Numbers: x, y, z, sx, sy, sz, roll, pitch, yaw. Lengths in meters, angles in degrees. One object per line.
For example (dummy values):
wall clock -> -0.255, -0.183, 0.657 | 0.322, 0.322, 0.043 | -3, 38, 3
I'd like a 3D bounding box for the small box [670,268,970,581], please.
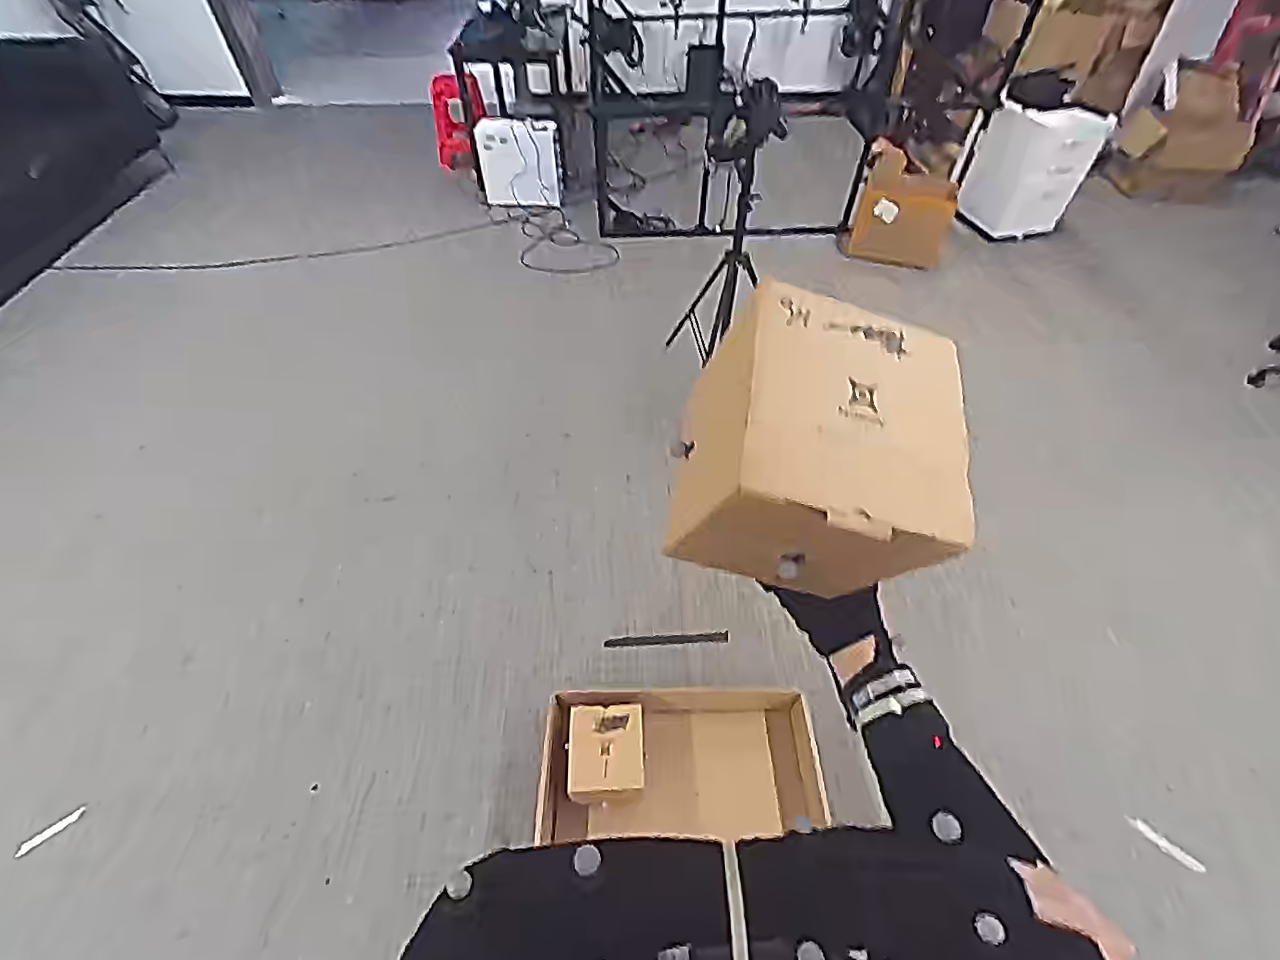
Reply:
small box -> 0.130, -0.028, 0.441 | 0.168, 0.176, 0.179 | 15, 65, -8
